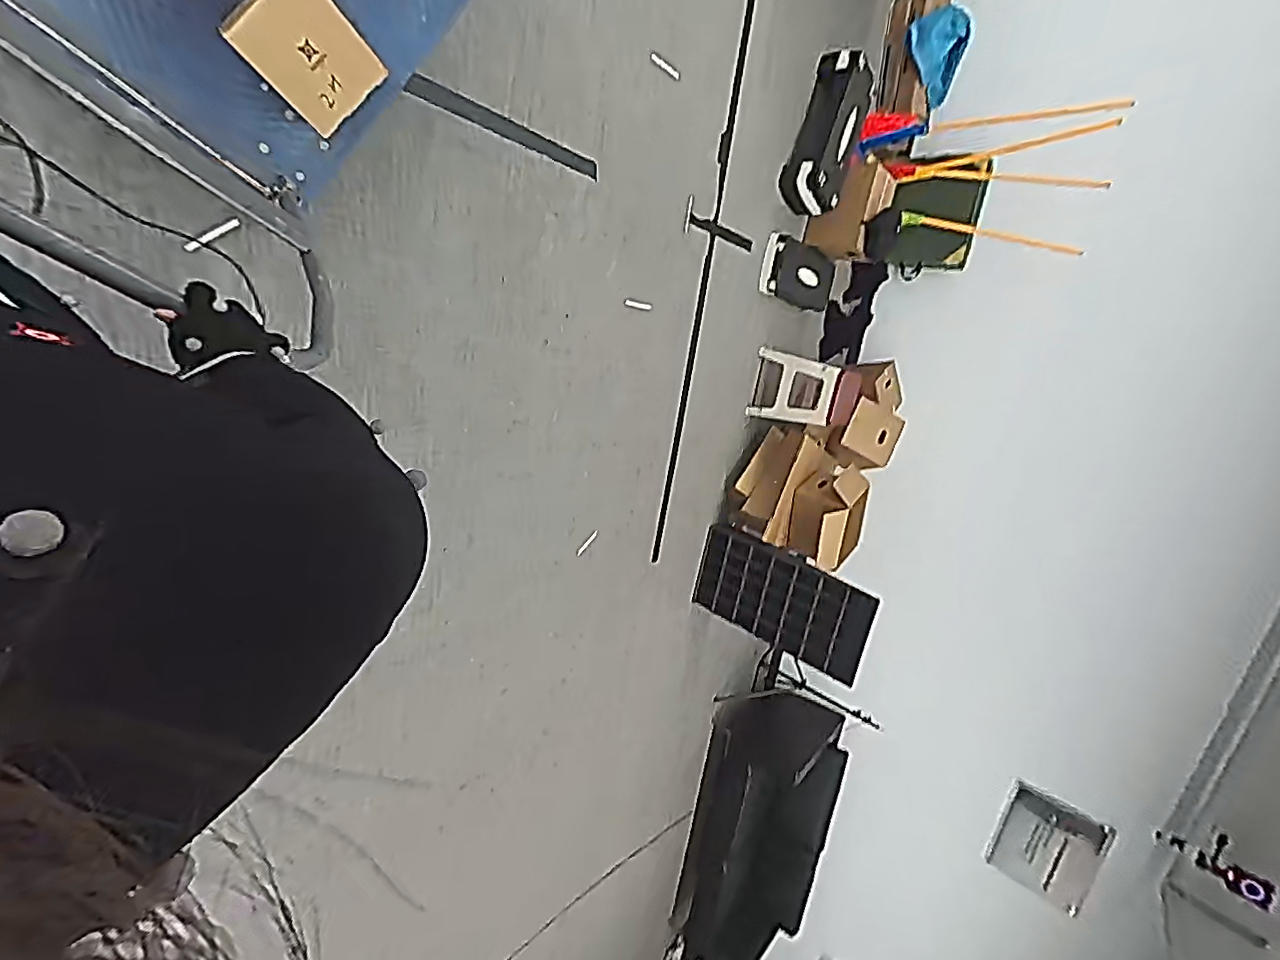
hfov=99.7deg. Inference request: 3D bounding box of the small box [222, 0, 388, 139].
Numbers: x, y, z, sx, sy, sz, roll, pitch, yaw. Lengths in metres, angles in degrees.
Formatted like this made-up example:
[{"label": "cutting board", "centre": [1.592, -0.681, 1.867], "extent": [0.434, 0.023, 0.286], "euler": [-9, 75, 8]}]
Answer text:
[{"label": "small box", "centre": [-0.581, -0.738, 0.934], "extent": [0.168, 0.176, 0.179], "euler": [-44, 143, 2]}]
